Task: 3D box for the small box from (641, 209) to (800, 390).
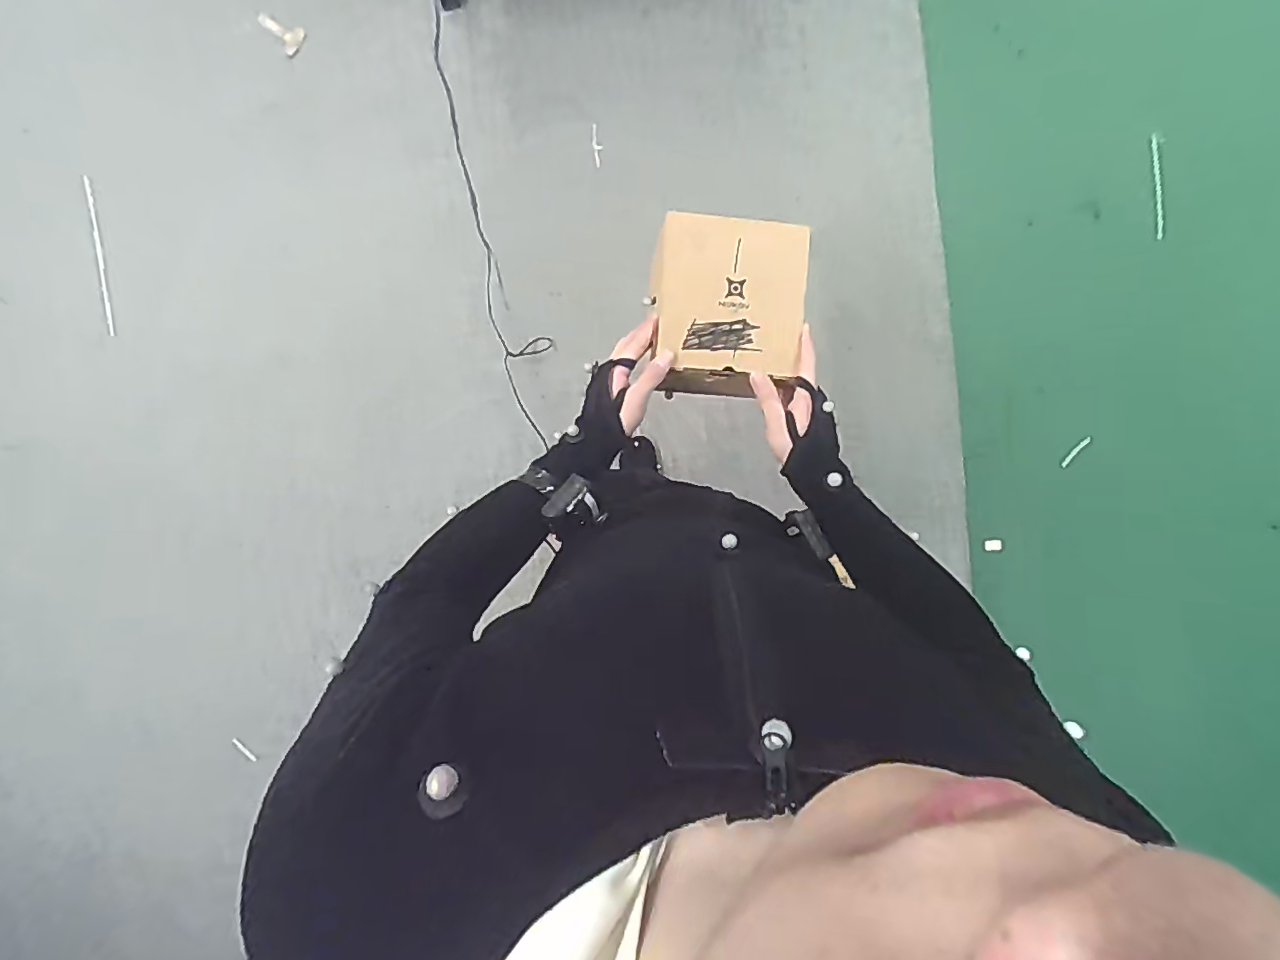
[{"bbox_3d":[0.090,-0.213,0.685,0.168,0.176,0.179,3,91,-3],"label":"small box"}]
